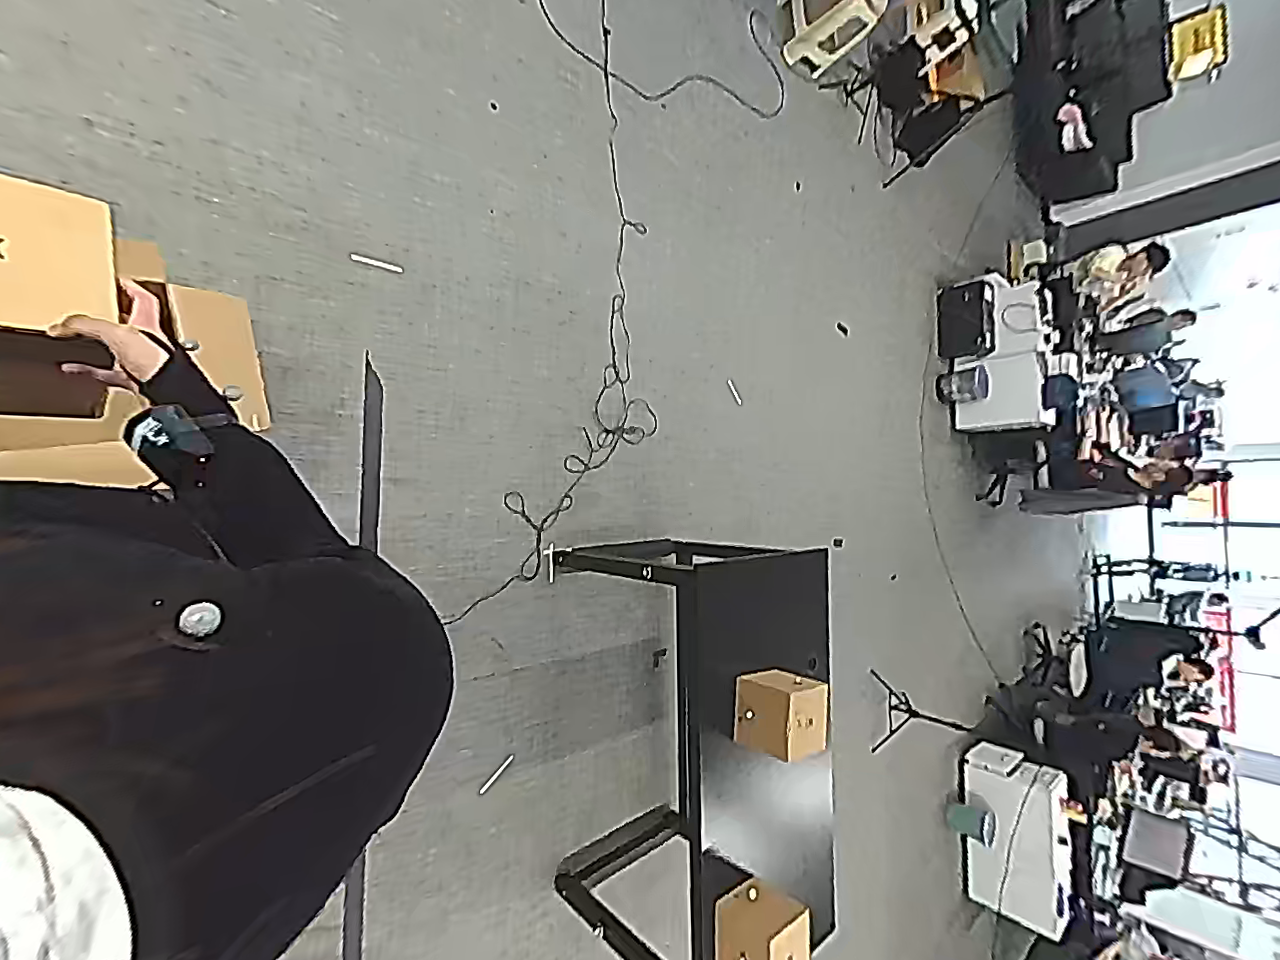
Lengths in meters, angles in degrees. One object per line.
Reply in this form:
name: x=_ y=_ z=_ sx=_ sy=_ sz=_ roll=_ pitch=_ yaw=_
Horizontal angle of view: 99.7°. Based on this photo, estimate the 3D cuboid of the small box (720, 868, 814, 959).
small box: x=0.313 y=1.124 z=1.344 sx=0.168 sy=0.176 sz=0.179 roll=4 pitch=85 yaw=-41

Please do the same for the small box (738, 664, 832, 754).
small box: x=0.380 y=0.590 z=1.419 sx=0.179 sy=0.176 sz=0.168 roll=8 pitch=83 yaw=-39

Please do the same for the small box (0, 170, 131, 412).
small box: x=-0.621 y=-0.175 z=0.515 sx=0.179 sy=0.176 sz=0.168 roll=-4 pitch=71 yaw=-49
